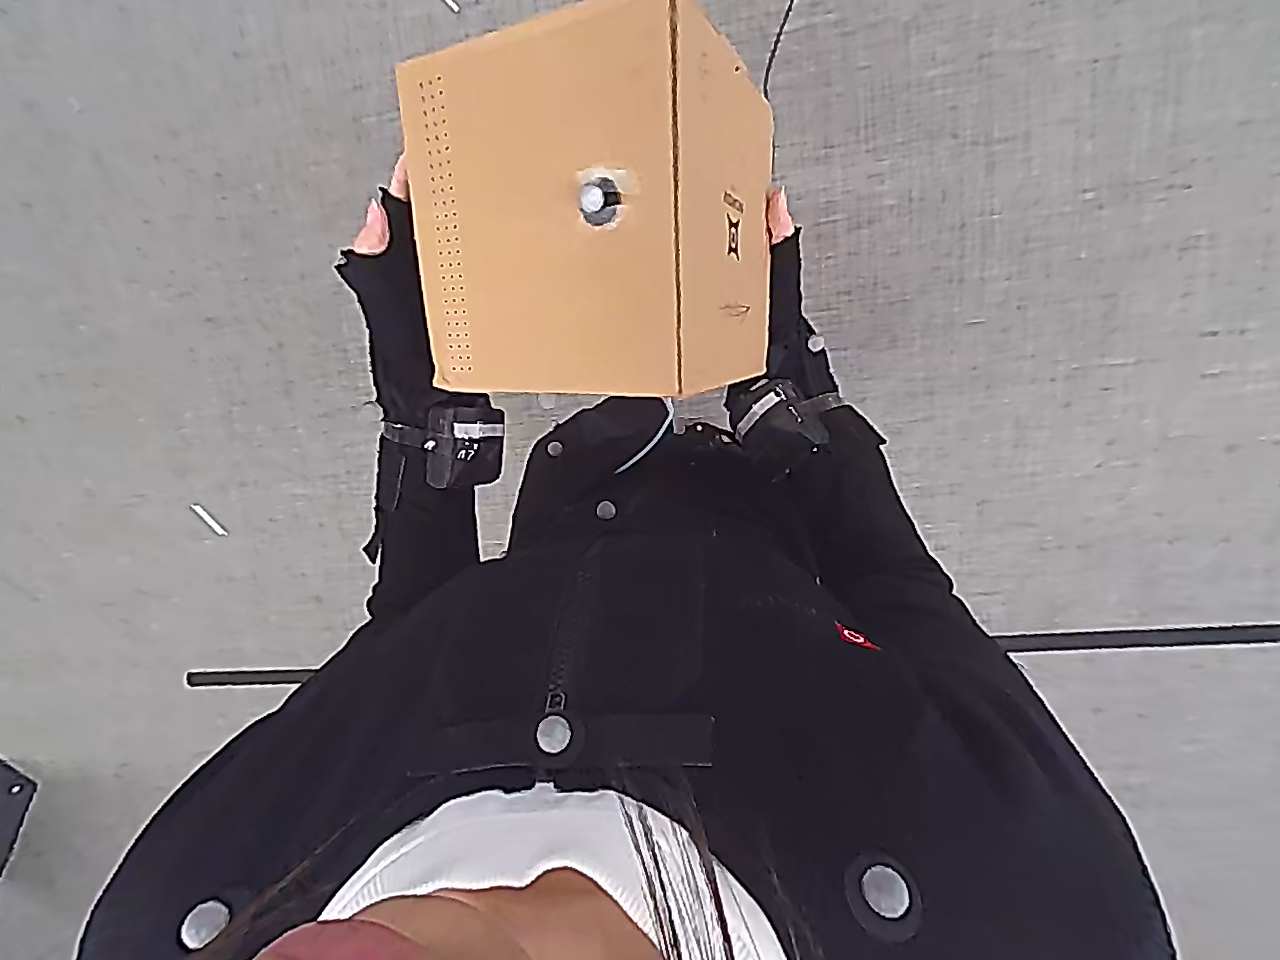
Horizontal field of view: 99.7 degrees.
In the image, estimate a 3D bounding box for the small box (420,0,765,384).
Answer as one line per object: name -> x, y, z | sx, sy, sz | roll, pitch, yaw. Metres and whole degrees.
small box -> -0.021, -0.156, 0.357 | 0.176, 0.168, 0.179 | 6, 106, 26
